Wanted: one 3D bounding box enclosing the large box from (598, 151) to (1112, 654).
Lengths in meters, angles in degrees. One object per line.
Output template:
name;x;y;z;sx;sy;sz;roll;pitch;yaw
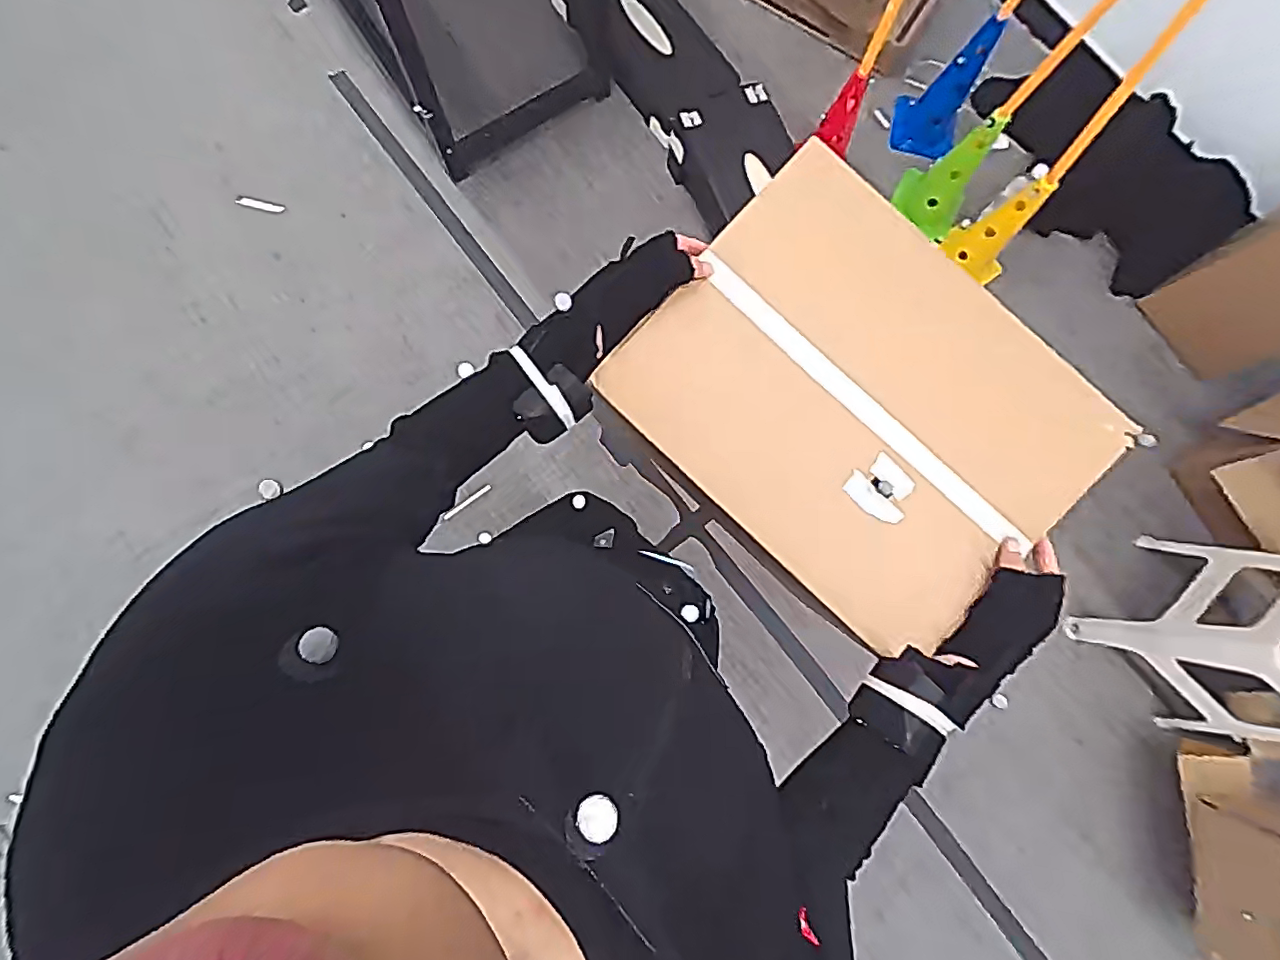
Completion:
large box;0.203;-0.075;0.663;0.408;0.320;0.320;43;91;1
